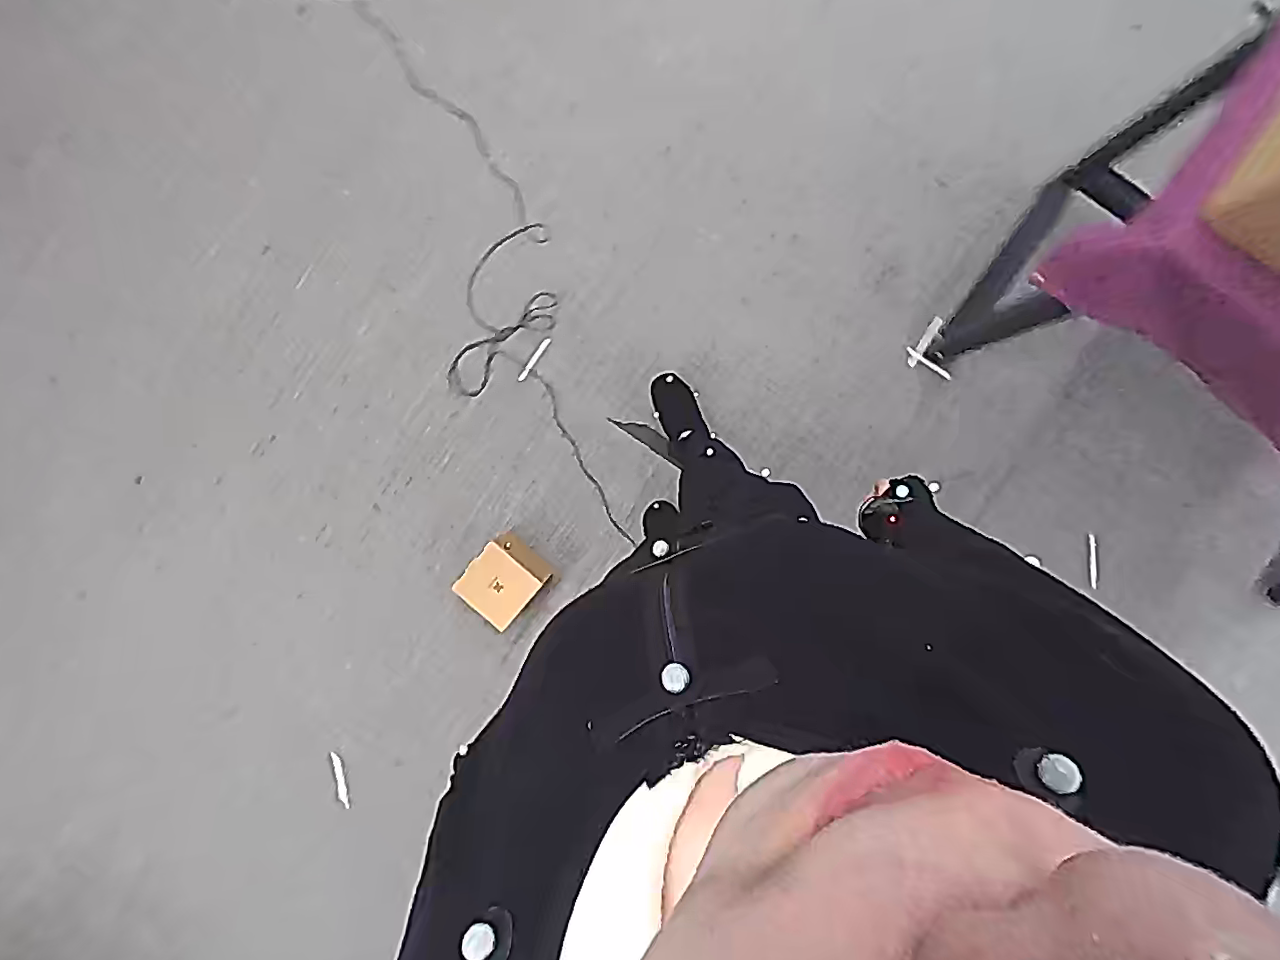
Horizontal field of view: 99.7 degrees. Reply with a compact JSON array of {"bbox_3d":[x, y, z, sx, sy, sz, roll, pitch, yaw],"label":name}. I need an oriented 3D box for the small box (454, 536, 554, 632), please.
[{"bbox_3d":[-0.353,0.268,1.448,0.179,0.176,0.168,40,93,1],"label":"small box"}]
